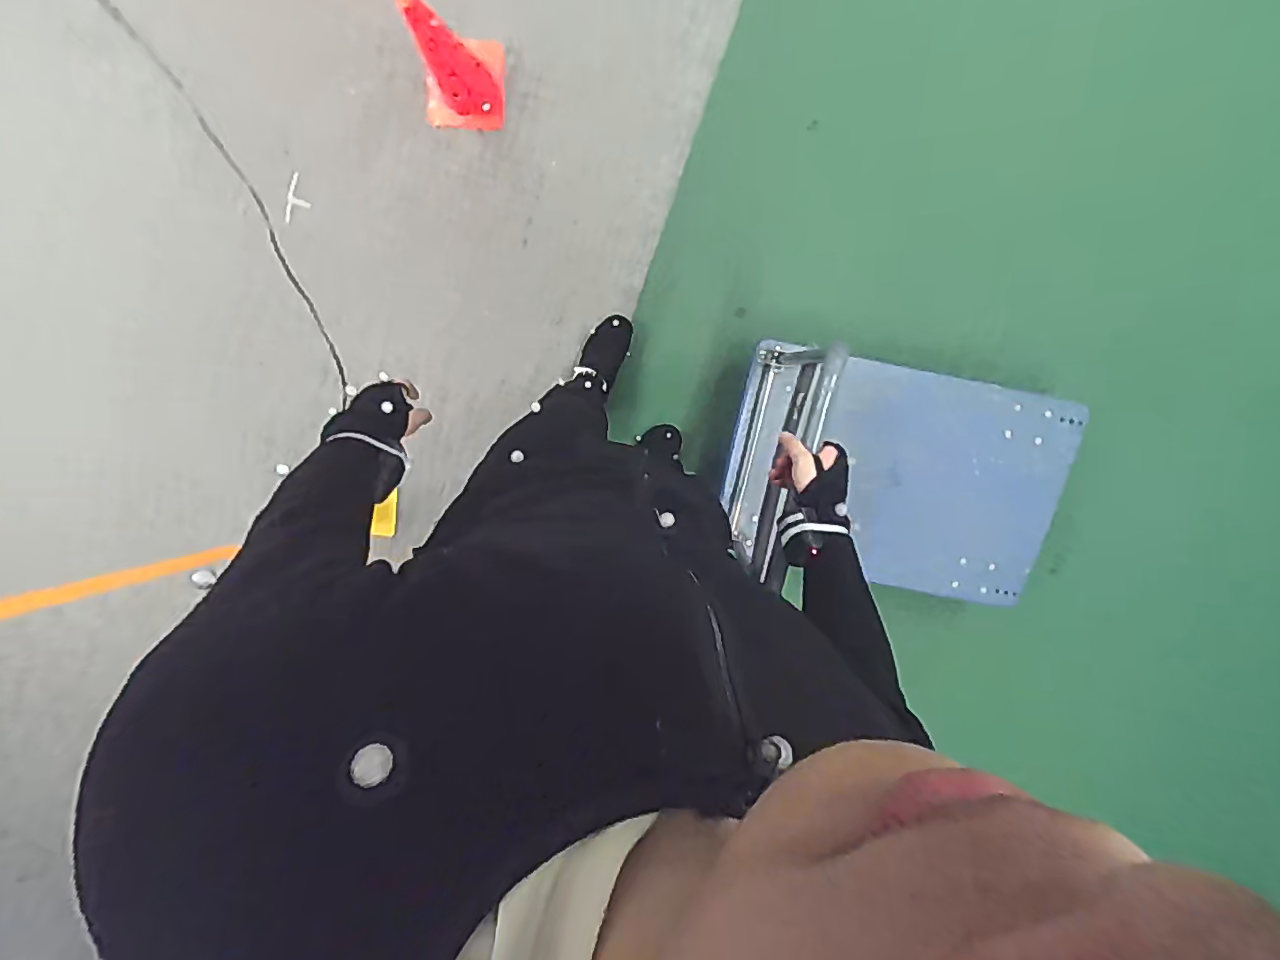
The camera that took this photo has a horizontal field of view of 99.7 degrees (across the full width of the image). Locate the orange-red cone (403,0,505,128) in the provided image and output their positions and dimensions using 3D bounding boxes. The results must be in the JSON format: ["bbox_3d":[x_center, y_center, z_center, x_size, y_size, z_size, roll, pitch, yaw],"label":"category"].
[{"bbox_3d":[-0.453,-0.992,1.227,0.198,0.360,0.199,5,101,0],"label":"orange-red cone"}]
